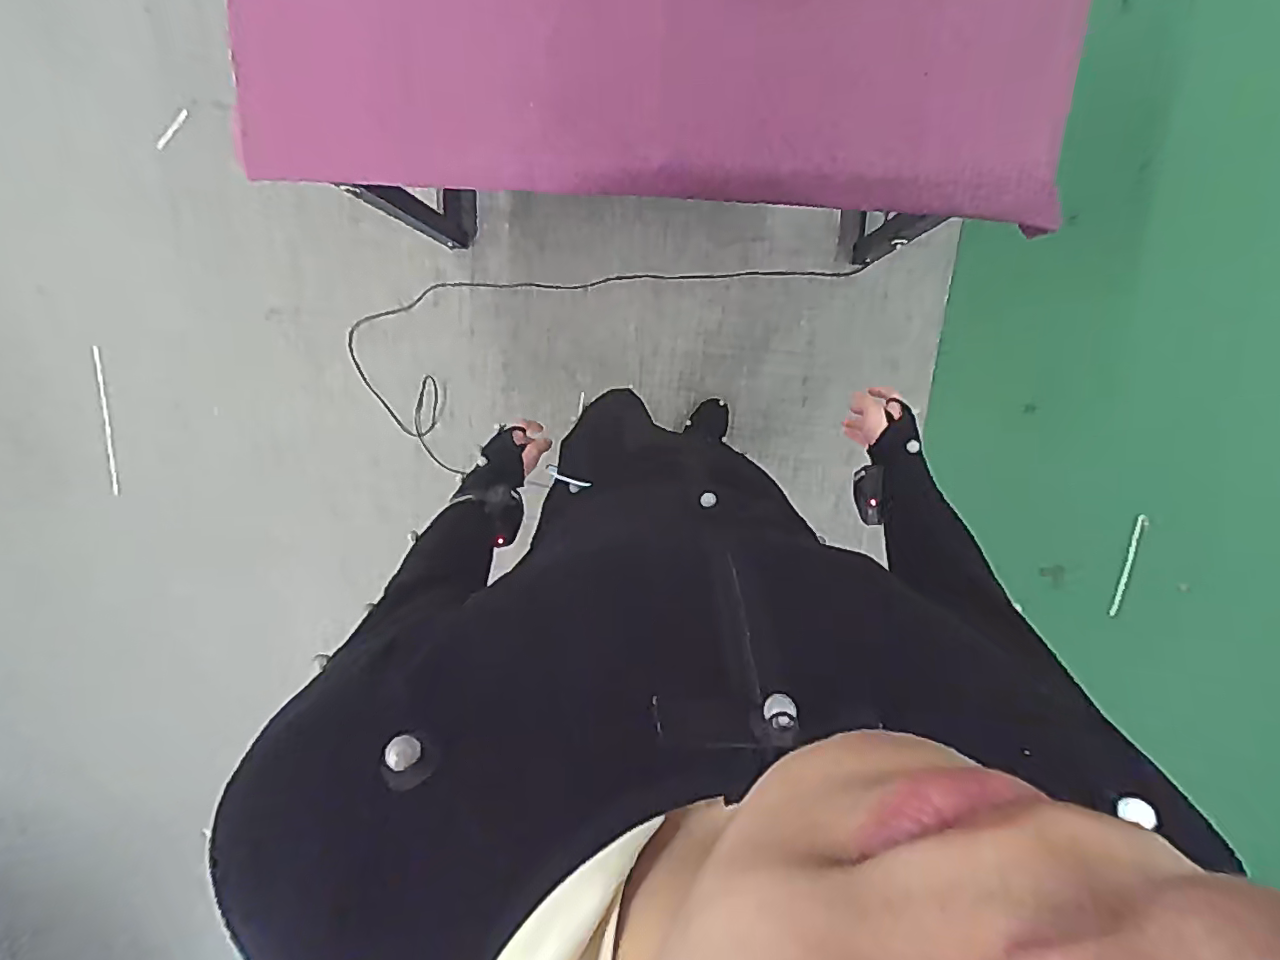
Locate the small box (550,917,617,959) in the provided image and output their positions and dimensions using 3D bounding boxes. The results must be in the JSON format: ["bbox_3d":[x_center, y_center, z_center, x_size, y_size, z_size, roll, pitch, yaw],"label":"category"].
[{"bbox_3d":[-0.159,1.288,1.397,0.168,0.176,0.179,11,102,3],"label":"small box"}]
